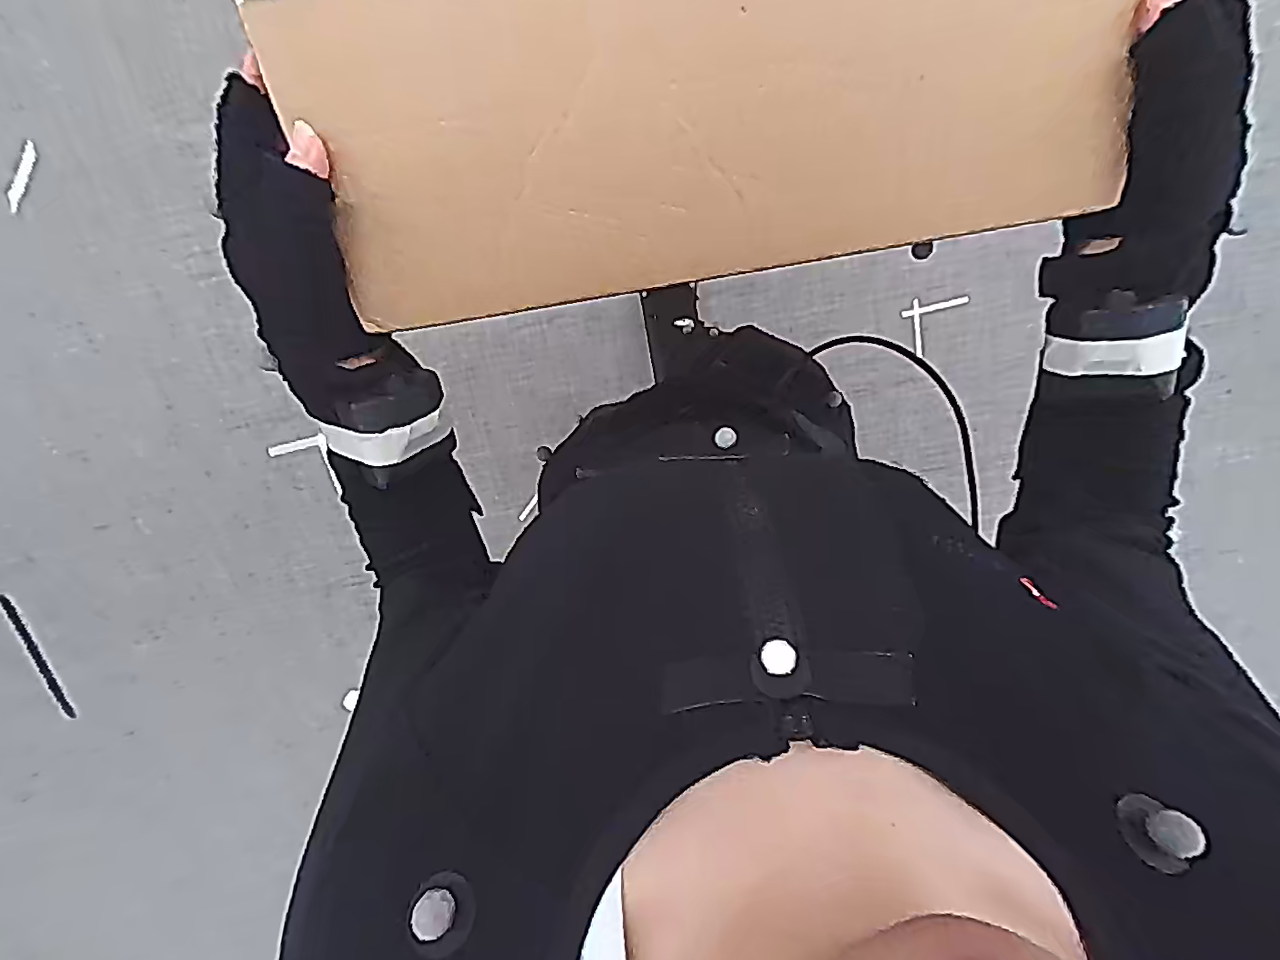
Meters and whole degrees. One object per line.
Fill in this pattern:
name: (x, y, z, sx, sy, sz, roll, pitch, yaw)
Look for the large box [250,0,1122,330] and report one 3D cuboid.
large box: (0.016, -0.320, 0.363, 0.408, 0.320, 0.320, -9, 116, 3)
